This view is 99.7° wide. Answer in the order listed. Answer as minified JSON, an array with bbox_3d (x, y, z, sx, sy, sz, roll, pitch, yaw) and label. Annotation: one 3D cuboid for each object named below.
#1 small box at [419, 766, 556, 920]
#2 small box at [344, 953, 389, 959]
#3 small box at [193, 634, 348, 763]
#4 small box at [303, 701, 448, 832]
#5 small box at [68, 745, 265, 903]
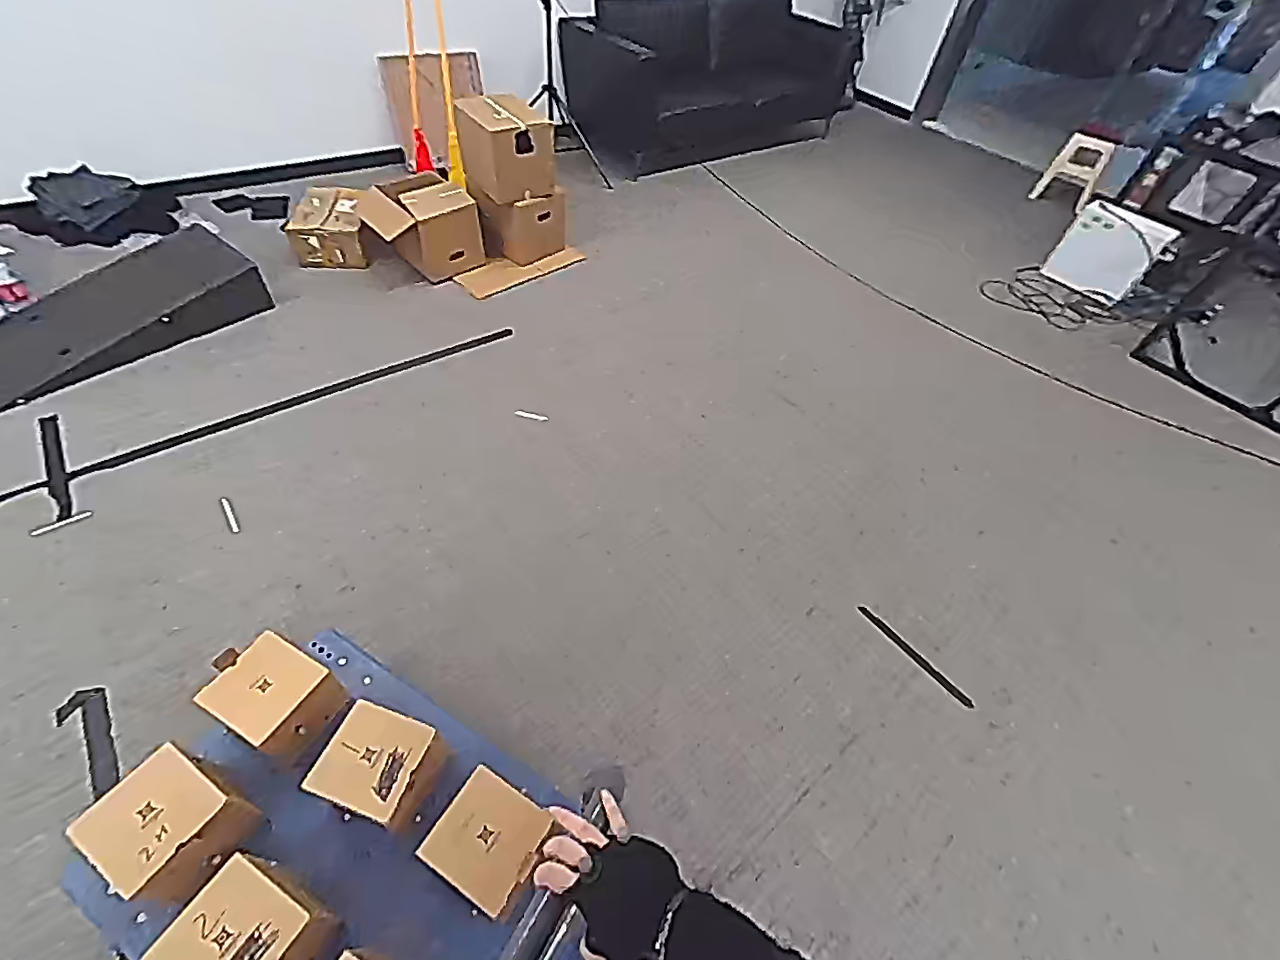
[{"bbox_3d":[-0.270,0.671,1.001,0.179,0.176,0.168,27,51,15],"label":"small box"},{"bbox_3d":[-0.413,0.858,0.818,0.179,0.176,0.168,25,50,12],"label":"small box"},{"bbox_3d":[-0.743,0.455,1.112,0.179,0.176,0.168,25,51,12],"label":"small box"},{"bbox_3d":[-0.499,0.565,1.056,0.179,0.176,0.168,17,50,7],"label":"small box"},{"bbox_3d":[-0.825,0.616,0.961,0.179,0.176,0.168,29,52,15],"label":"small box"}]
